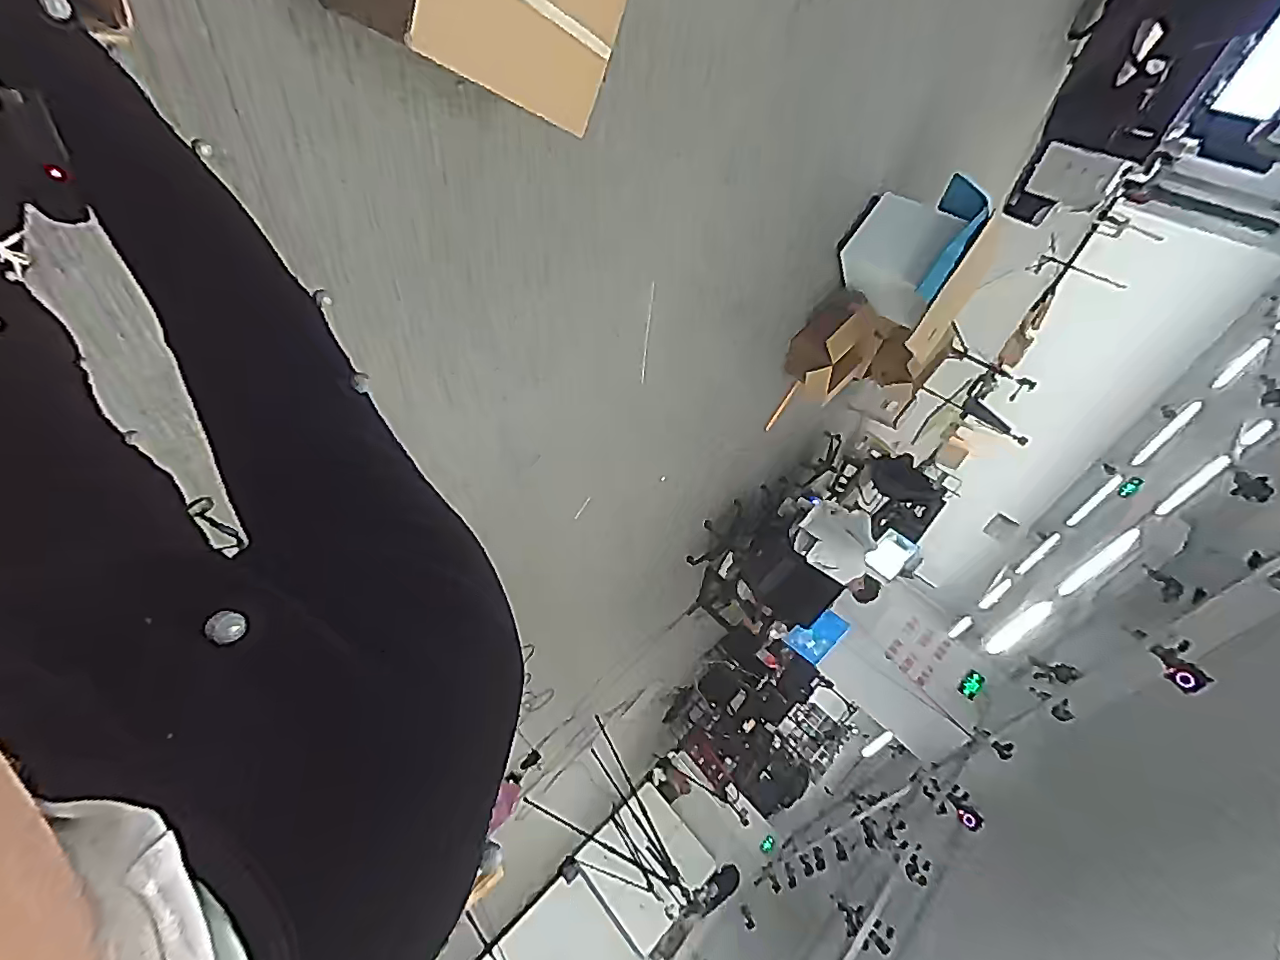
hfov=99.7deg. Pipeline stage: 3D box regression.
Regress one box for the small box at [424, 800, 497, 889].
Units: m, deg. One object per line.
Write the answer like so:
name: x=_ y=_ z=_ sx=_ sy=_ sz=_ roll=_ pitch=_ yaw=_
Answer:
small box: x=-0.597 y=1.206 z=1.797 sx=0.168 sy=0.176 sz=0.179 roll=-32 pitch=149 yaw=-32

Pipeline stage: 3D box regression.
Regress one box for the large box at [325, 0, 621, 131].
large box: x=-0.295 y=-0.924 z=1.002 sx=0.408 sy=0.320 sz=0.320 roll=-11 pitch=134 yaw=-51
